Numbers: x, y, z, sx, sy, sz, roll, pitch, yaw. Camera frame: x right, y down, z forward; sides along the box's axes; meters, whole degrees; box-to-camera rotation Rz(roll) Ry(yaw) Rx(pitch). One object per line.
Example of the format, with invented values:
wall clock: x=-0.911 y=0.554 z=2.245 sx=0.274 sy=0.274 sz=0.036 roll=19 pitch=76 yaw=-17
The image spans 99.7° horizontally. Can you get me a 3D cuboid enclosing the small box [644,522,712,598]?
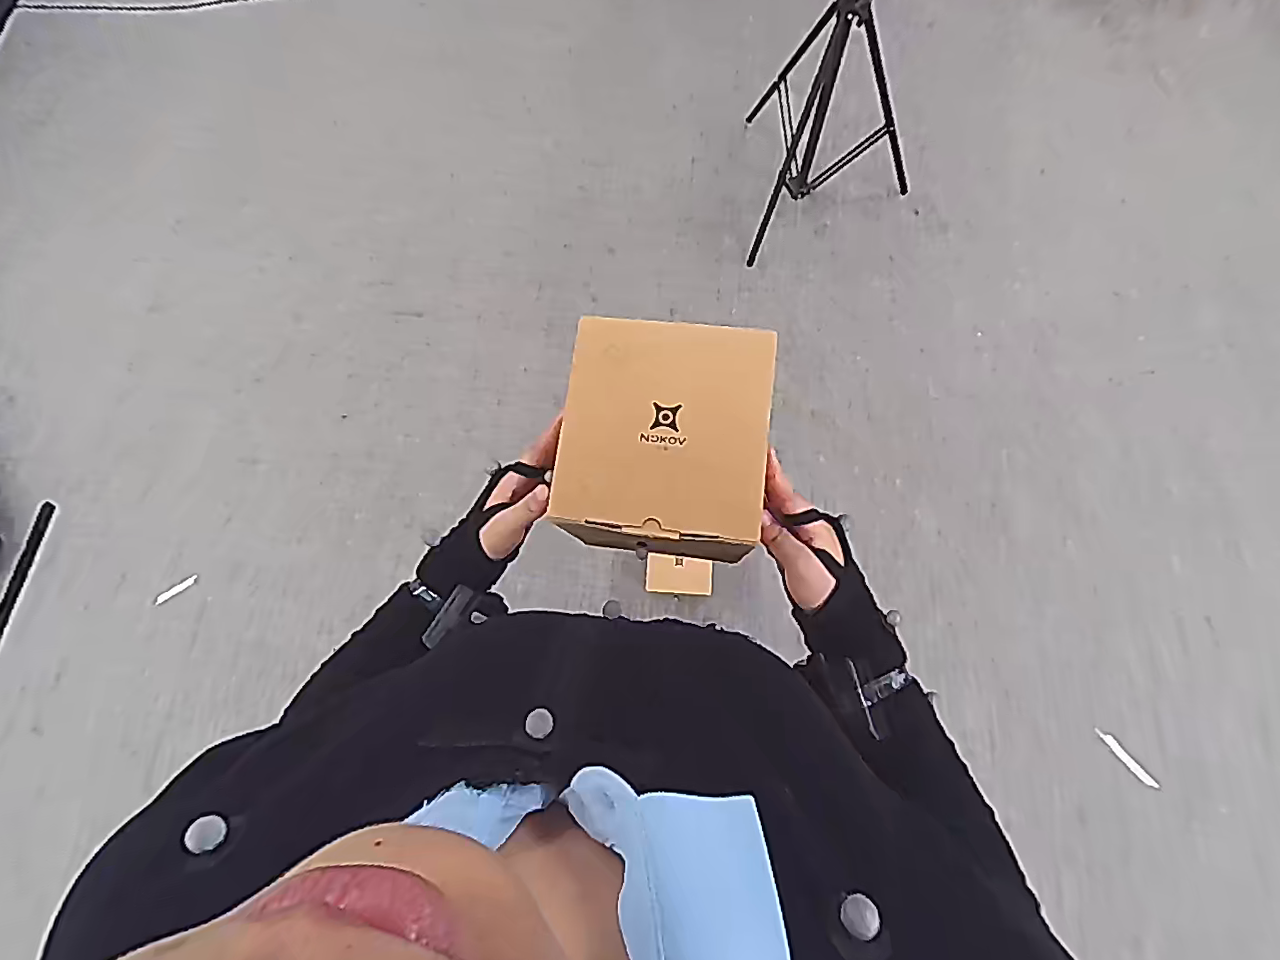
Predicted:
small box: x=0.103 y=0.218 z=1.438 sx=0.168 sy=0.176 sz=0.179 roll=3 pitch=74 yaw=5
